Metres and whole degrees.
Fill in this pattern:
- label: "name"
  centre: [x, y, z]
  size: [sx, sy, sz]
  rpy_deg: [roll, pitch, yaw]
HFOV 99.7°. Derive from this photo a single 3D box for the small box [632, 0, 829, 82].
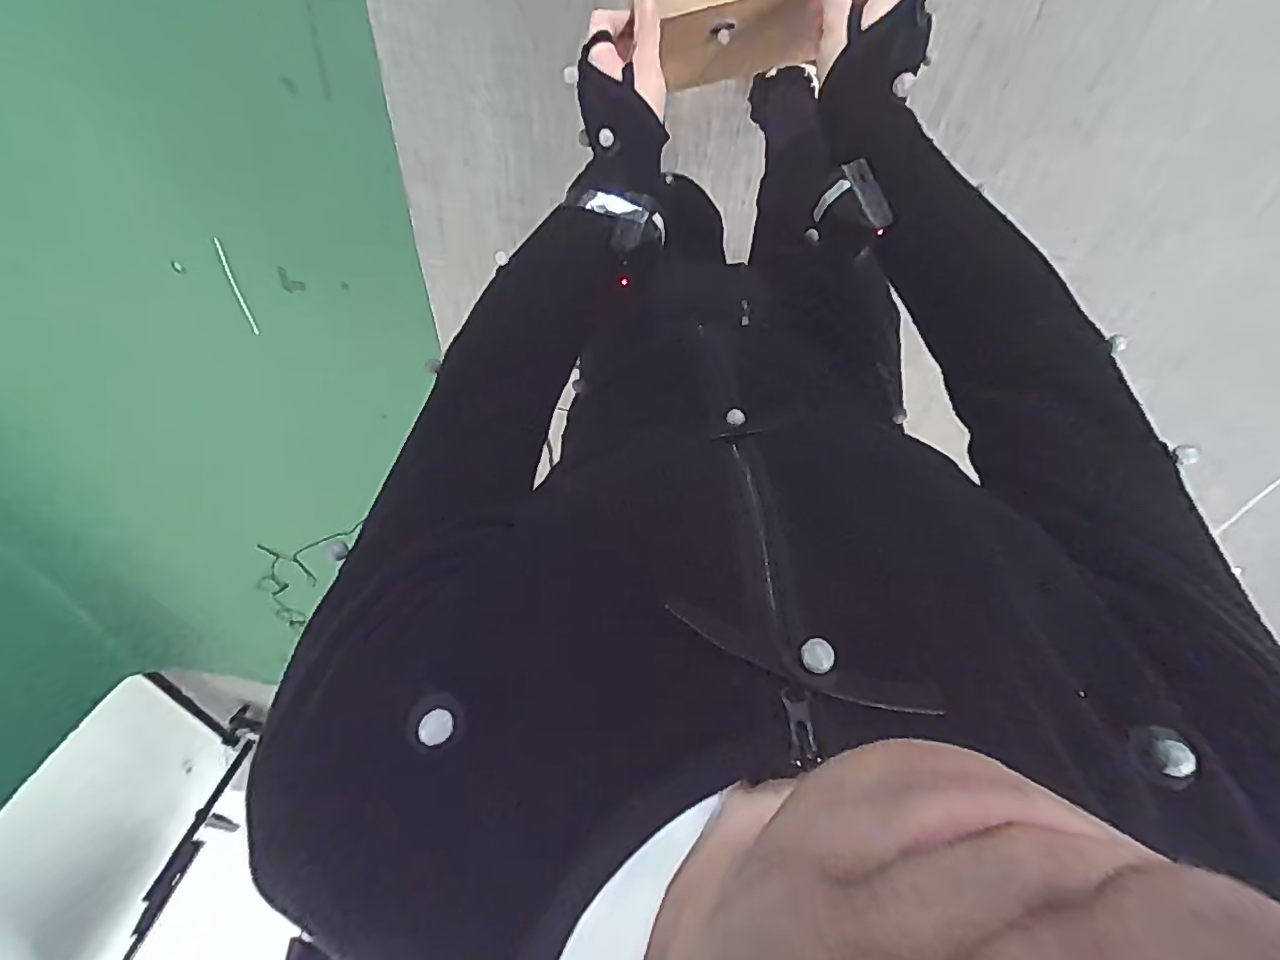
- label: "small box"
  centre: [0.086, -0.511, 0.507]
  size: [0.179, 0.176, 0.168]
  rpy_deg: [-4, 108, 14]
